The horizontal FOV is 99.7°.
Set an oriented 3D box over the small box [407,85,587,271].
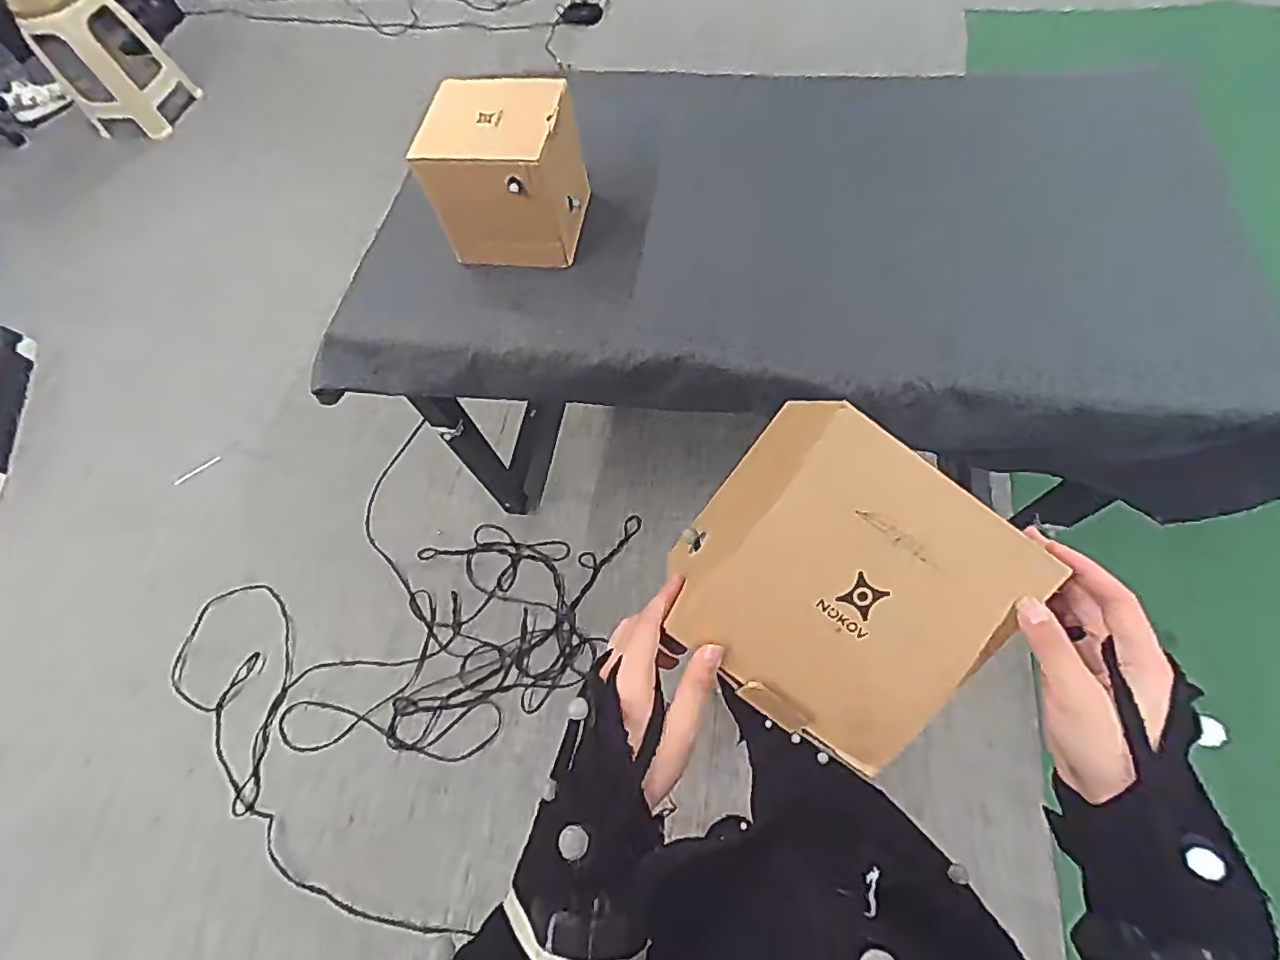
[{"bbox_3d":[-0.185,-0.416,0.759,0.179,0.176,0.168,5,65,8],"label":"small box"}]
